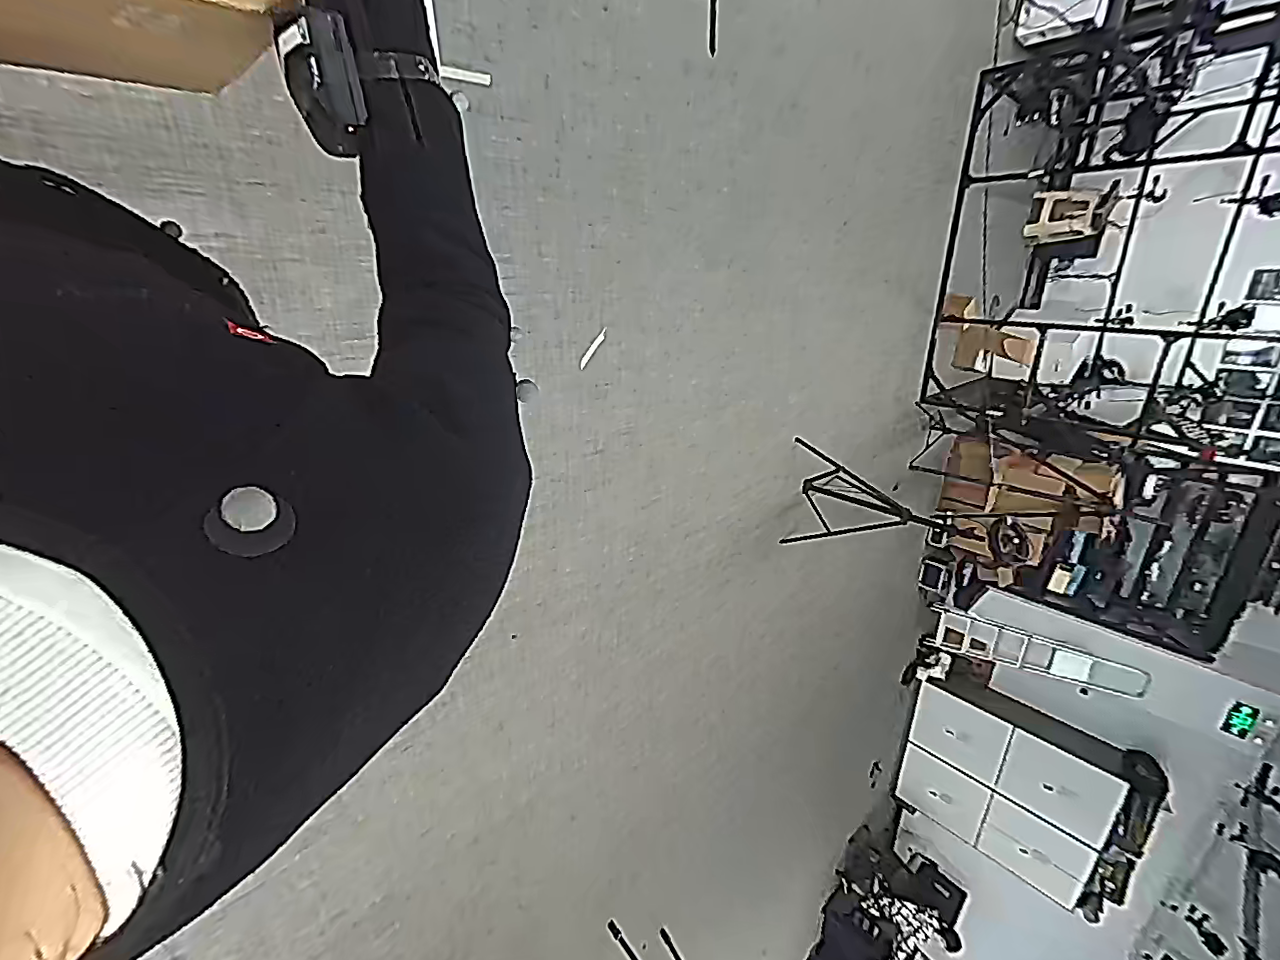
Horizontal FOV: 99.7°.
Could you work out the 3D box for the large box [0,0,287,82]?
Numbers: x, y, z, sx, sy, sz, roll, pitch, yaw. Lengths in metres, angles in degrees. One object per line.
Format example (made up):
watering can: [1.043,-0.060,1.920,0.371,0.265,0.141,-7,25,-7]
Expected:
large box: [-0.459,-0.417,0.242,0.408,0.320,0.320,-21,124,-39]
